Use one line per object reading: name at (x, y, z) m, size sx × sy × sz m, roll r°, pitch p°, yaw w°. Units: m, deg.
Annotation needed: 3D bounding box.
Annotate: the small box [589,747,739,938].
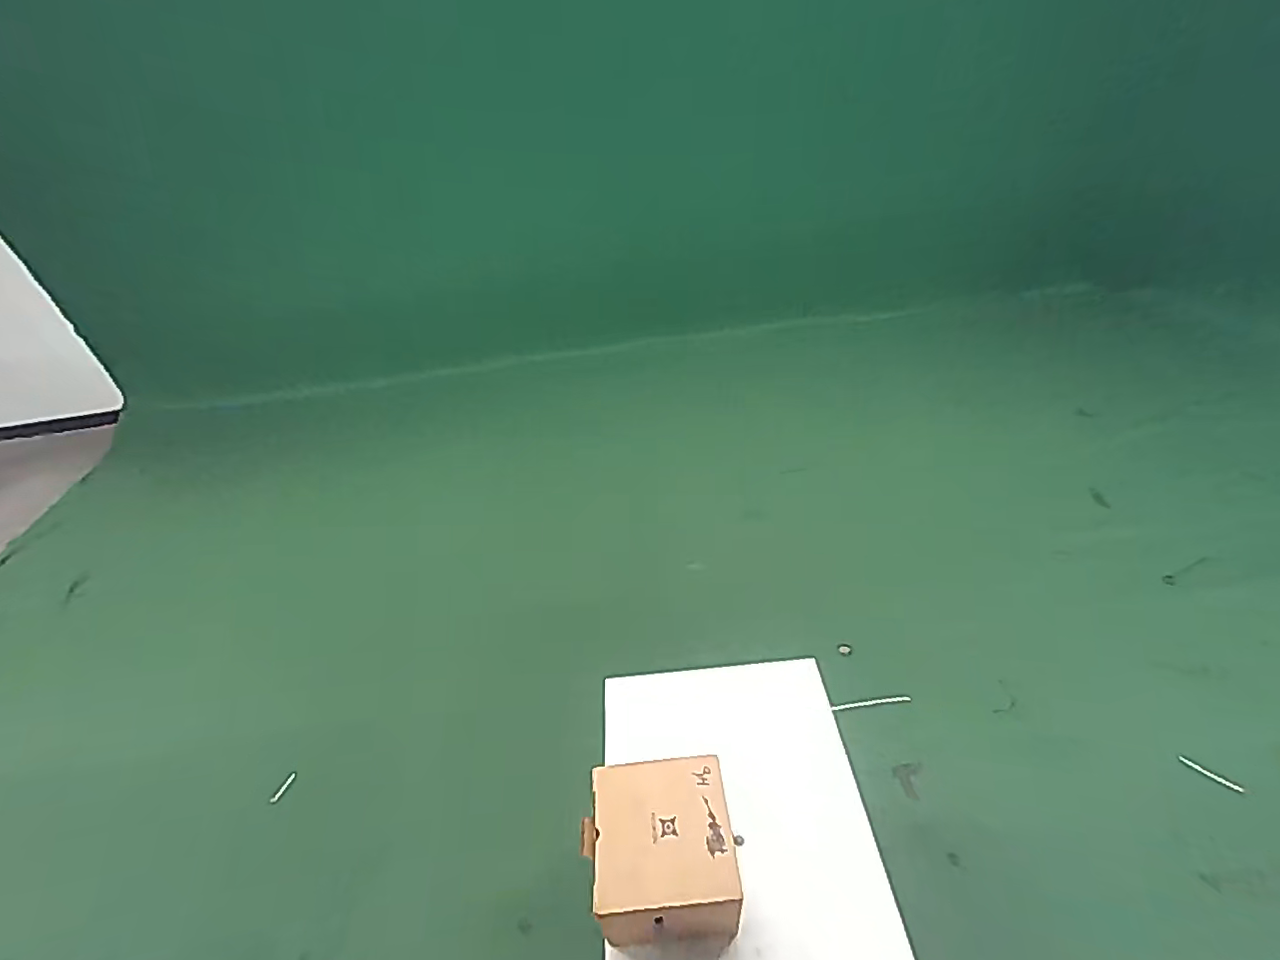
small box at (0.031, 0.485, 0.723) m, size 0.179 × 0.176 × 0.168 m, roll -6°, pitch 40°, yaw 0°
